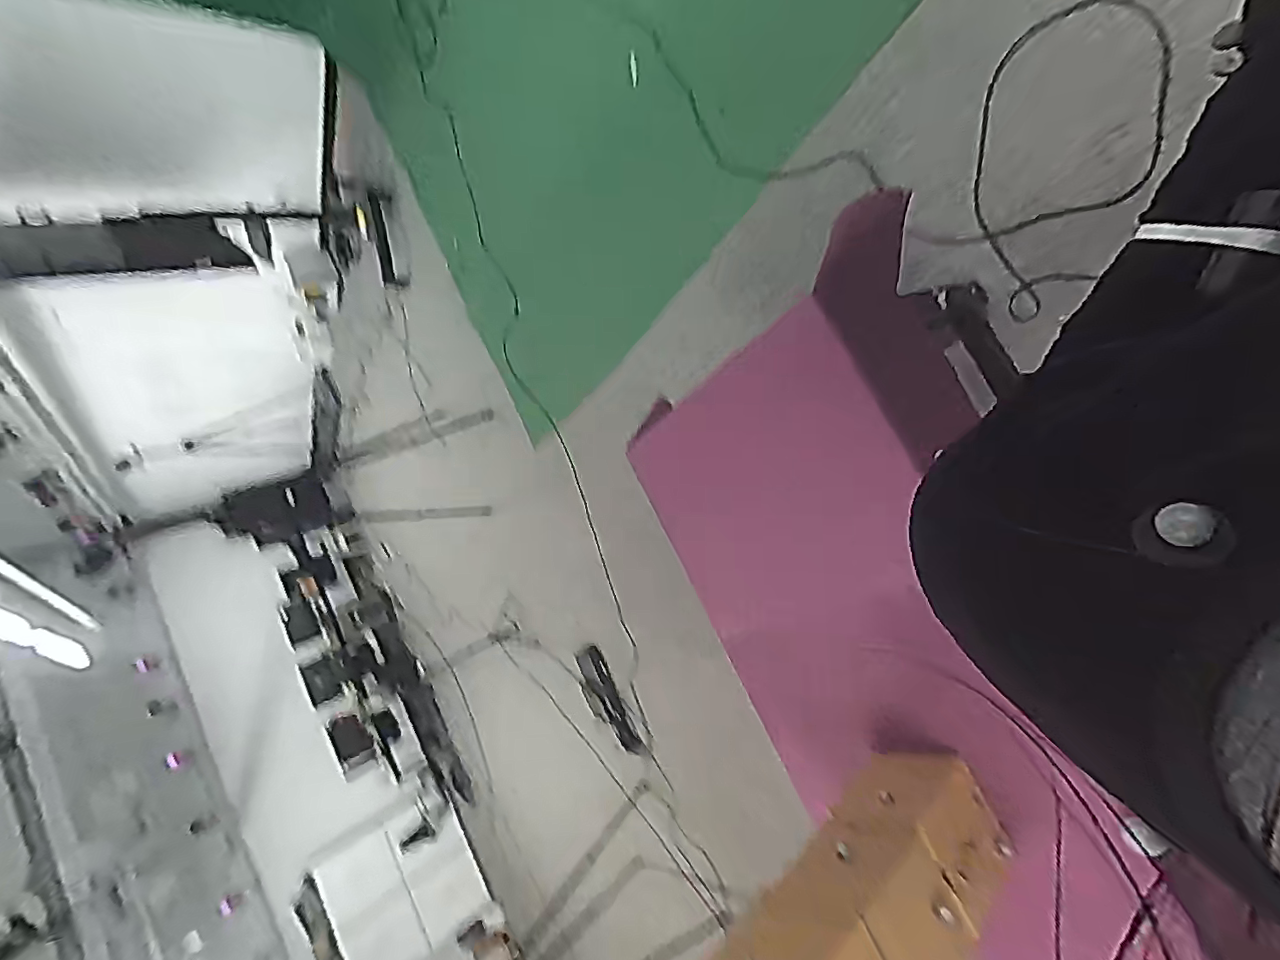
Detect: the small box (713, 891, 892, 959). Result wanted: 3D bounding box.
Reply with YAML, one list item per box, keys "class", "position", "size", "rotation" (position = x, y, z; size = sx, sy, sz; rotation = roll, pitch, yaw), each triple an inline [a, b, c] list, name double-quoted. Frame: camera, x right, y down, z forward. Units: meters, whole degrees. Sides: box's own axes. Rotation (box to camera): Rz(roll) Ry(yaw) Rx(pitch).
- class: "small box"
  position: [0.219, 0.668, 0.681]
  size: [0.179, 0.176, 0.168]
  rotation: [-37, 77, 51]

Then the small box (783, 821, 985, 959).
- class: "small box"
  position: [0.347, 0.629, 0.774]
  size: [0.168, 0.176, 0.179]
  rotation: [-35, 78, 52]

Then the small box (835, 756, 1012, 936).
- class: "small box"
  position: [0.464, 0.573, 0.877]
  size: [0.179, 0.176, 0.168]
  rotation: [-38, 76, 52]
